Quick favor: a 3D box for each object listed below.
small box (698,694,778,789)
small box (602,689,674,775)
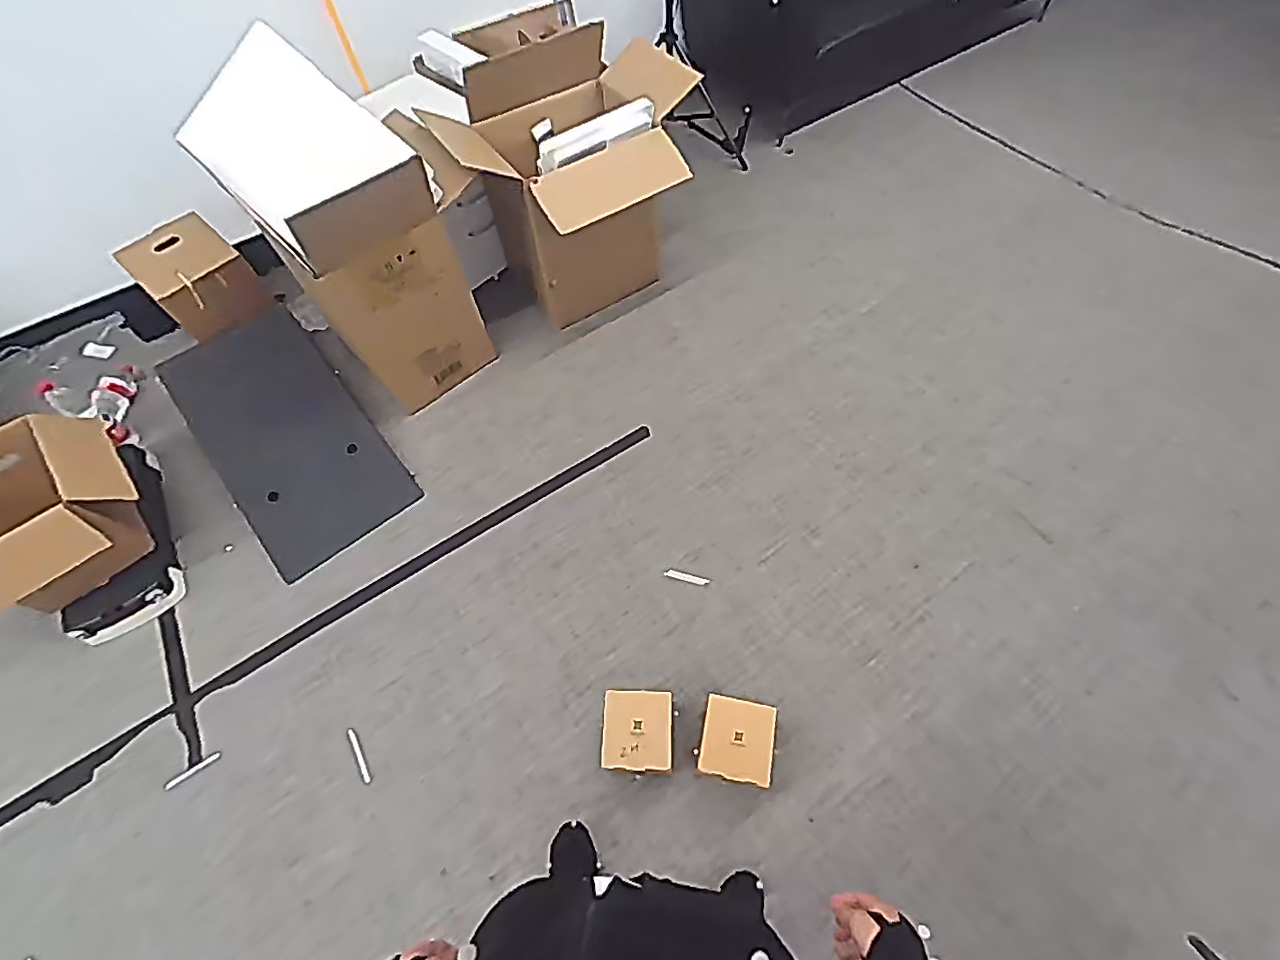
[{"bbox_3d":[0.238,0.649,1.337,0.168,0.176,0.179,9,61,9],"label":"small box"},{"bbox_3d":[0.001,0.635,1.358,0.168,0.176,0.179,0,60,5],"label":"small box"}]
